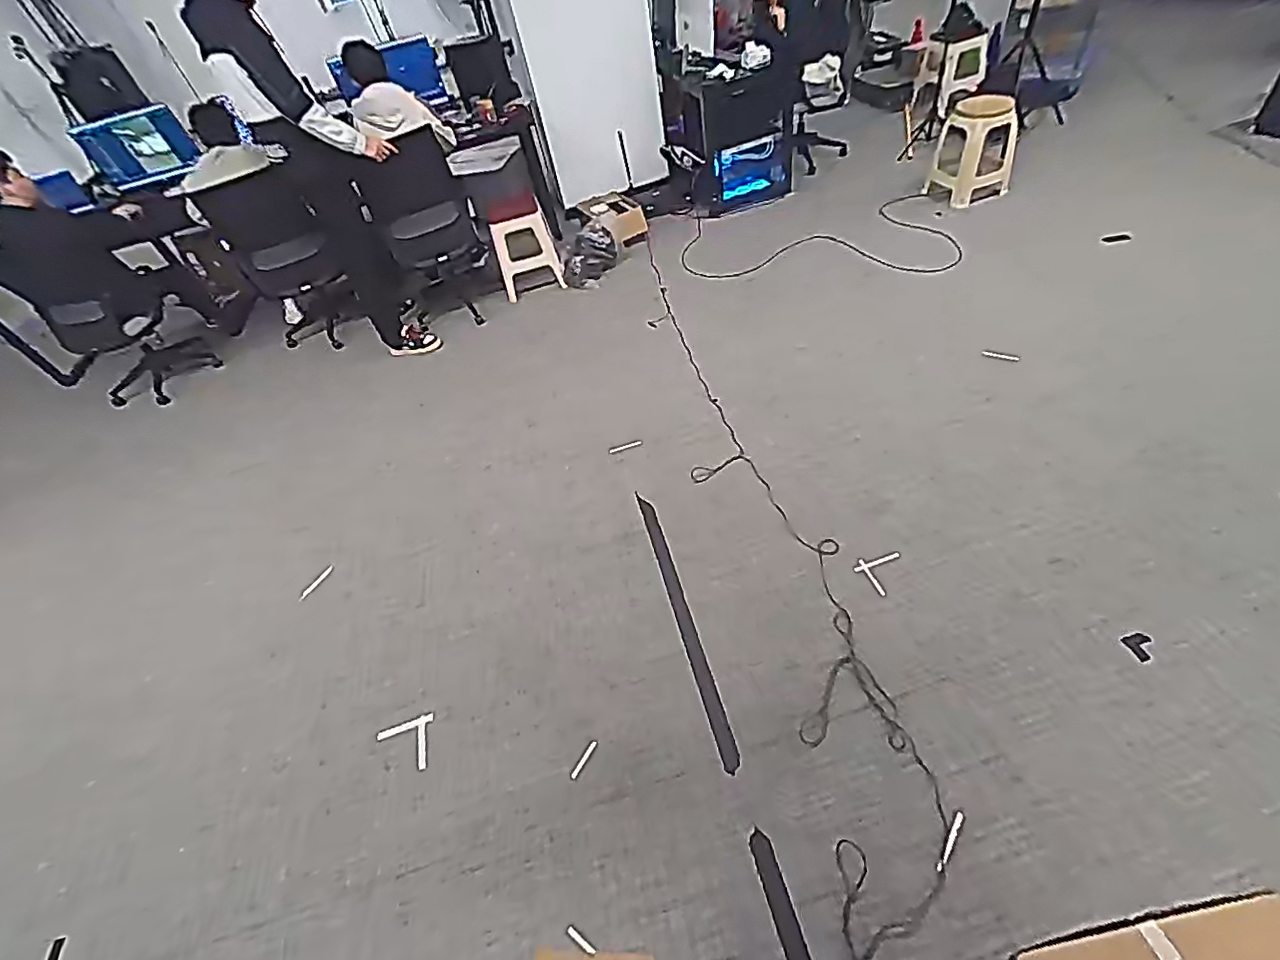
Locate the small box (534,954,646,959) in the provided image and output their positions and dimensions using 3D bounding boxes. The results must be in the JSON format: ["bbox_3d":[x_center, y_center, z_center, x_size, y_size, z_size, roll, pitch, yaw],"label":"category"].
[{"bbox_3d":[-0.067,0.752,0.674,0.168,0.176,0.179,1,12,2],"label":"small box"}]
